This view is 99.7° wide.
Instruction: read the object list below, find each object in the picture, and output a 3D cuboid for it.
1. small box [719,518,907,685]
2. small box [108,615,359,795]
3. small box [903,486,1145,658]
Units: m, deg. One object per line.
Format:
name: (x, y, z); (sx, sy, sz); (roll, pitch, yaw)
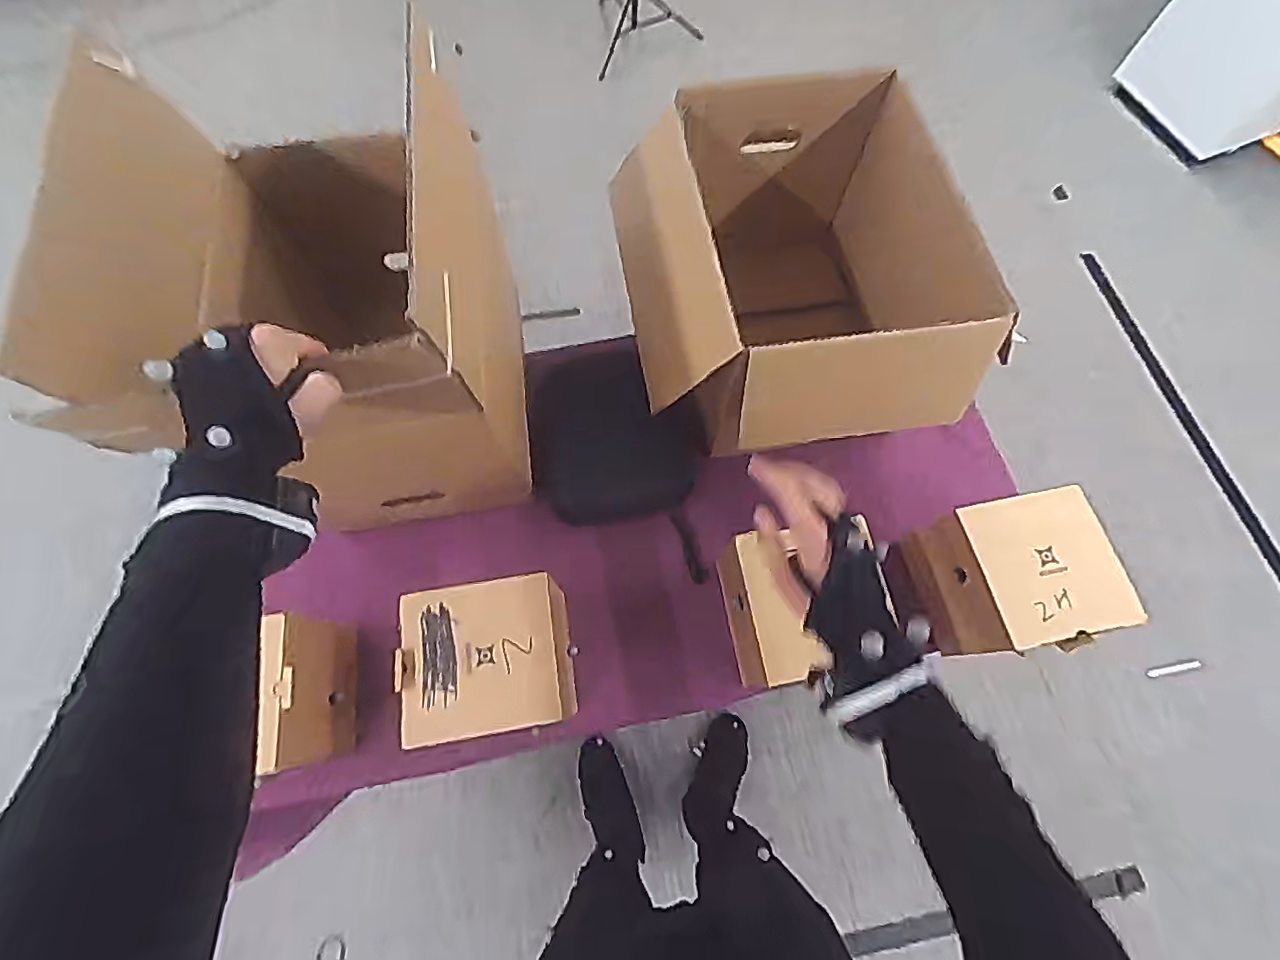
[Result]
small box: (0.207, 0.165, 0.706); (0.168, 0.176, 0.179); (-9, 70, -3)
small box: (-0.478, 0.272, 0.668); (0.179, 0.176, 0.168); (-8, 70, -4)
small box: (0.484, 0.128, 0.717); (0.168, 0.176, 0.179); (-11, 70, -3)
